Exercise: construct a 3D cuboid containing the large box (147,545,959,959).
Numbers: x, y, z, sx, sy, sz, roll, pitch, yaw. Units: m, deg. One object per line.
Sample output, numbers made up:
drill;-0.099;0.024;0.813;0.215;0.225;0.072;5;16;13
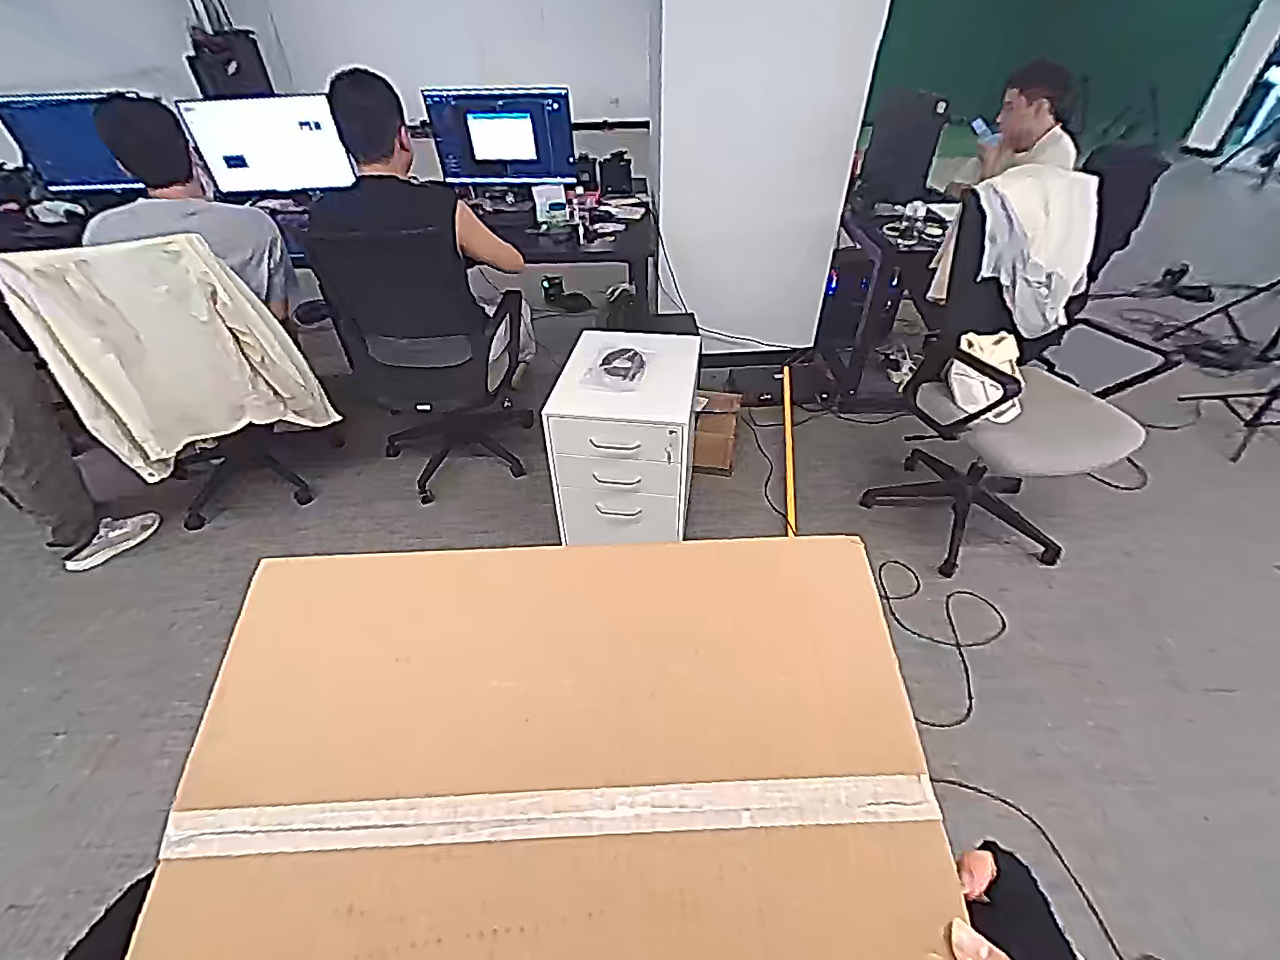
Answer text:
large box;-0.045;0.264;0.421;0.408;0.320;0.320;-2;59;-1
